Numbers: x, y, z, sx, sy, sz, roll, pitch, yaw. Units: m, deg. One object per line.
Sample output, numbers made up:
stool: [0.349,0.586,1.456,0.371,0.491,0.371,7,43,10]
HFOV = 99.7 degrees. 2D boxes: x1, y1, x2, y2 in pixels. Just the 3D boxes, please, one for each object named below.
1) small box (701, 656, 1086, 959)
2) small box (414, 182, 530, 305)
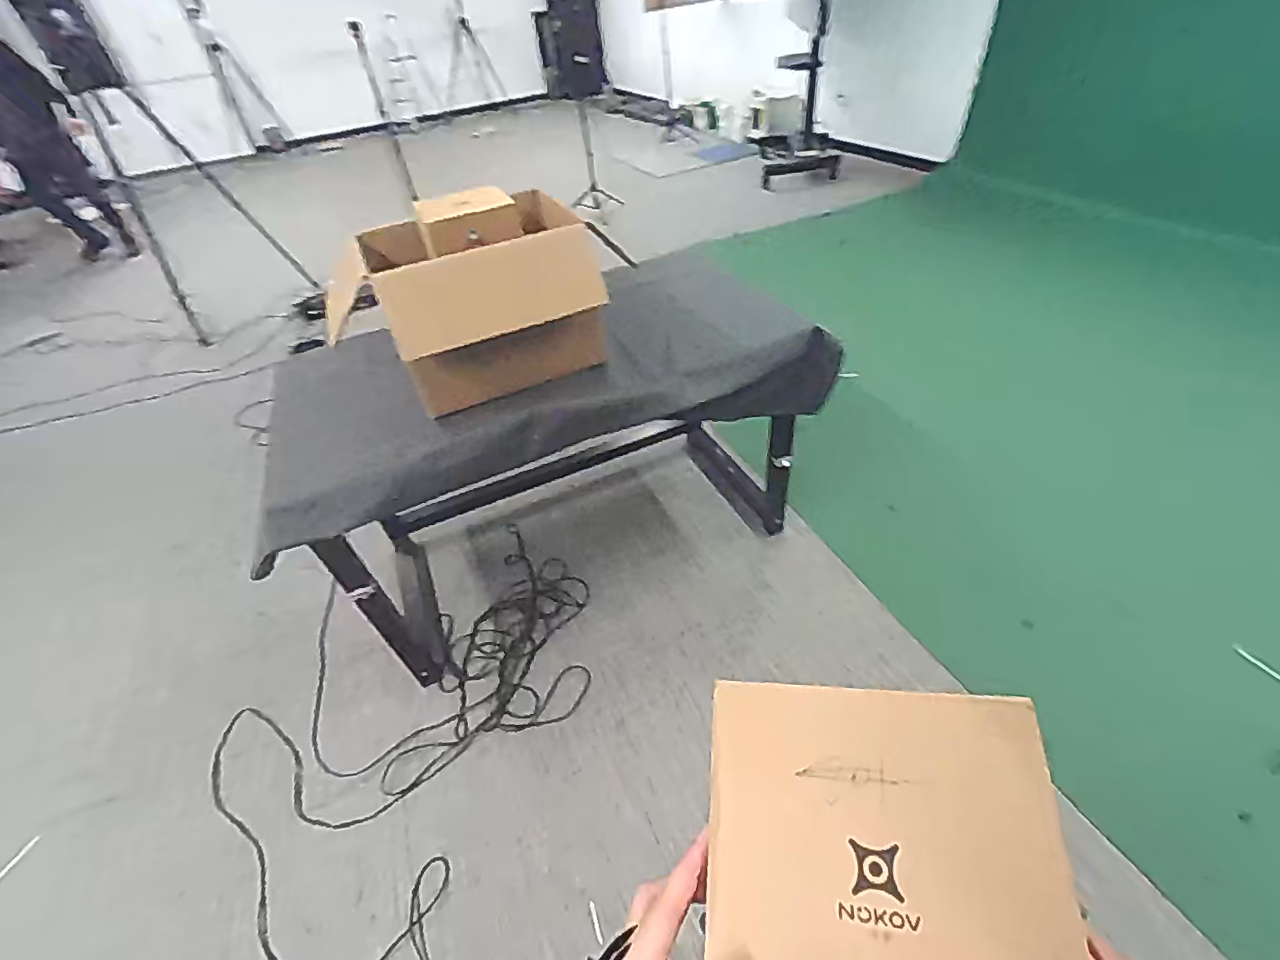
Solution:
small box: [0.134,0.216,0.331,0.168,0.176,0.179,-3,60,15]
small box: [-0.334,-0.482,1.102,0.179,0.176,0.168,-22,45,-15]
